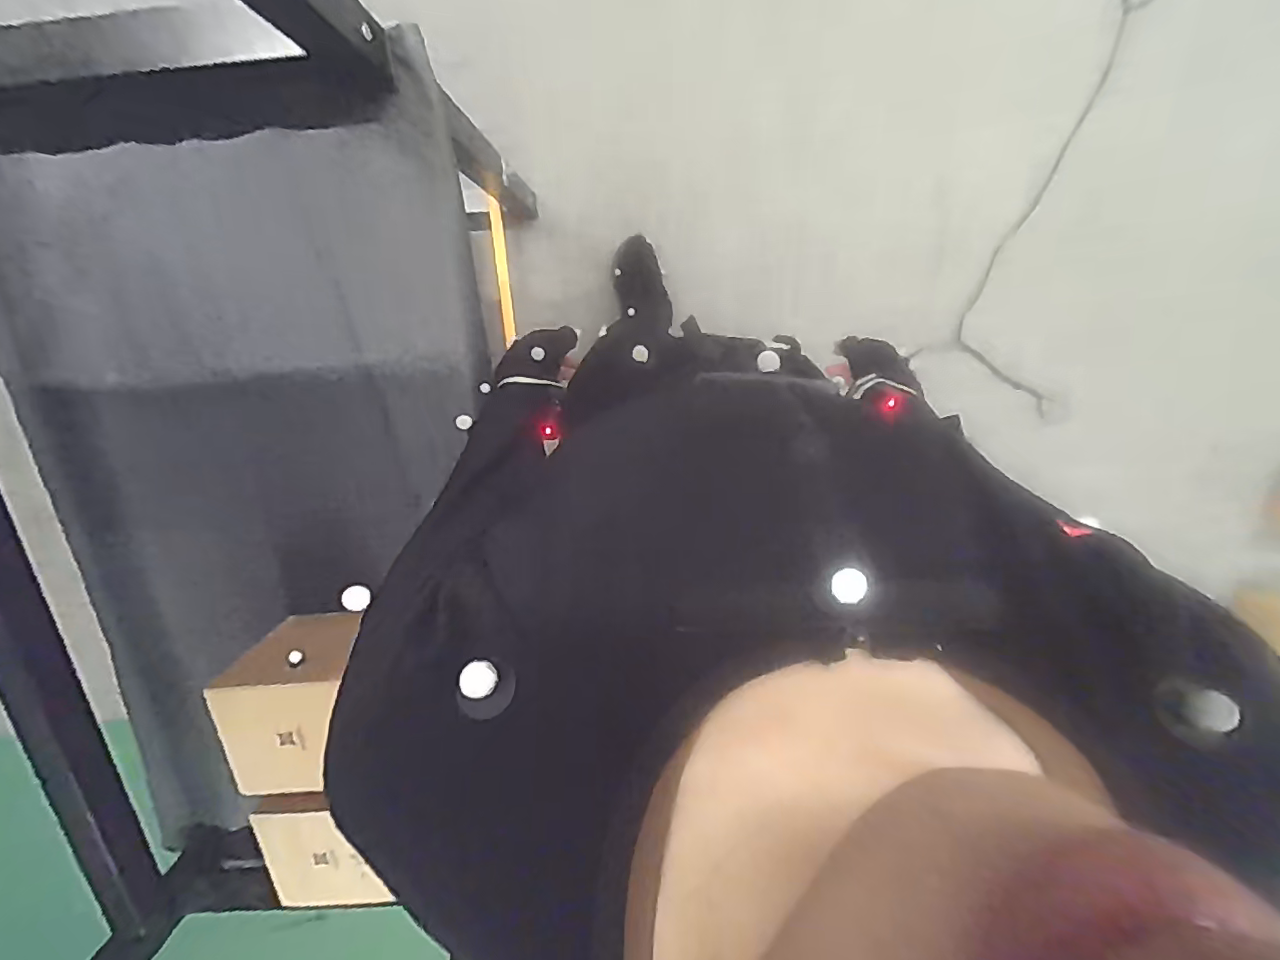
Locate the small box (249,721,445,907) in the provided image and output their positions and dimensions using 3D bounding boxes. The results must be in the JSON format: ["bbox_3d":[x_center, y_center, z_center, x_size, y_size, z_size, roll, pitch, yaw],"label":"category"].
[{"bbox_3d":[-0.413,0.479,0.793,0.179,0.176,0.168,-4,107,3],"label":"small box"}]
